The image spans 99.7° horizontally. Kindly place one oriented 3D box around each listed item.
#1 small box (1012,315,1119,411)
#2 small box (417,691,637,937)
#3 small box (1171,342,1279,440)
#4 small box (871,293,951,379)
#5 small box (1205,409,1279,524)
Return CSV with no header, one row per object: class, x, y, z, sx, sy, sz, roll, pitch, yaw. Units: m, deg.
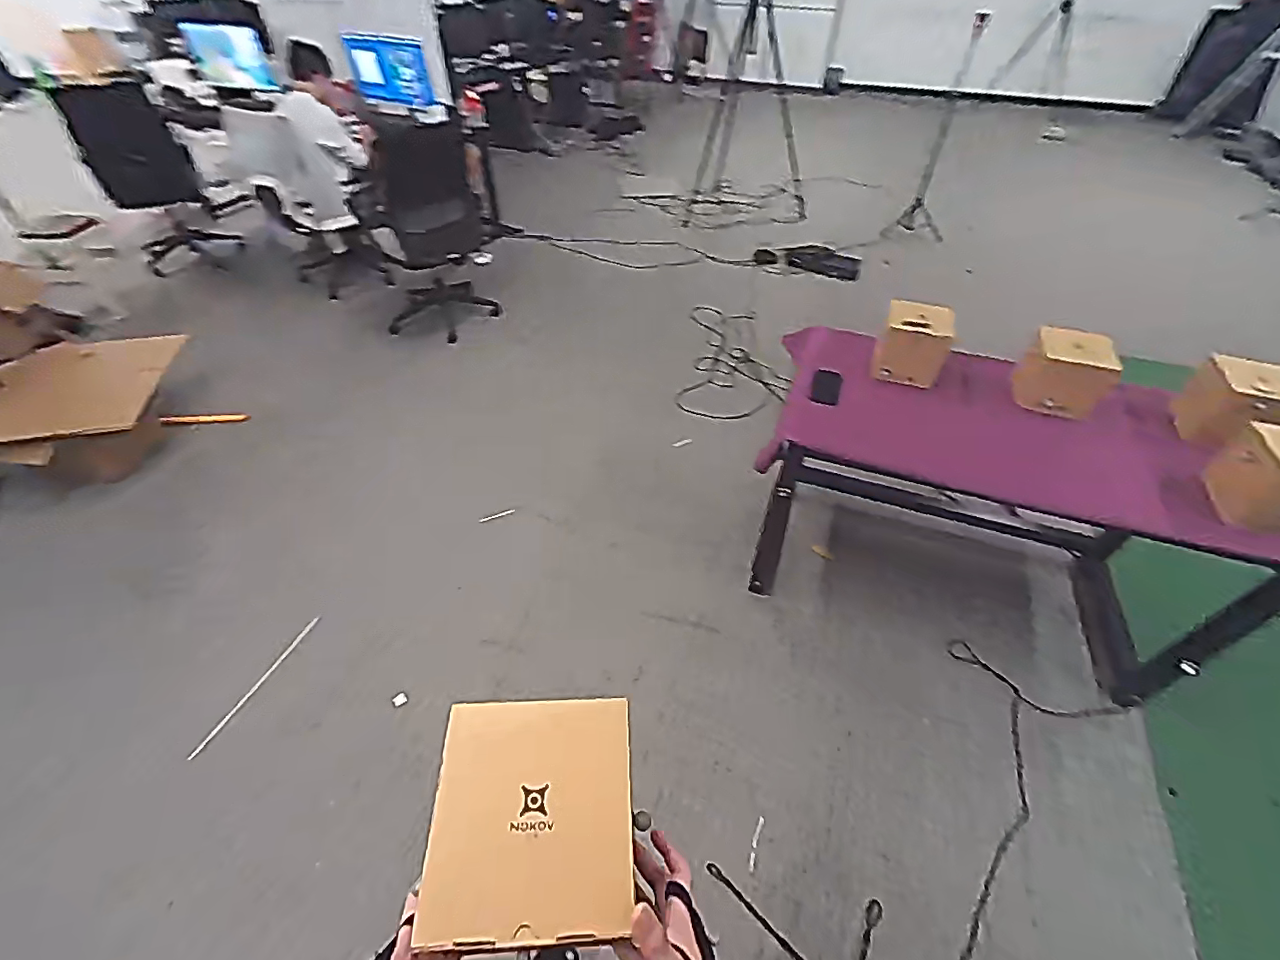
small box,1.133,-0.315,1.458,0.168,0.176,0.179,15,48,16
small box,-0.091,0.318,0.516,0.168,0.176,0.179,-1,51,-3
small box,1.496,-0.216,1.355,0.168,0.176,0.179,15,47,16
small box,0.773,-0.412,1.553,0.168,0.176,0.179,14,47,14
small box,1.385,-0.022,1.159,0.168,0.176,0.179,13,47,15
